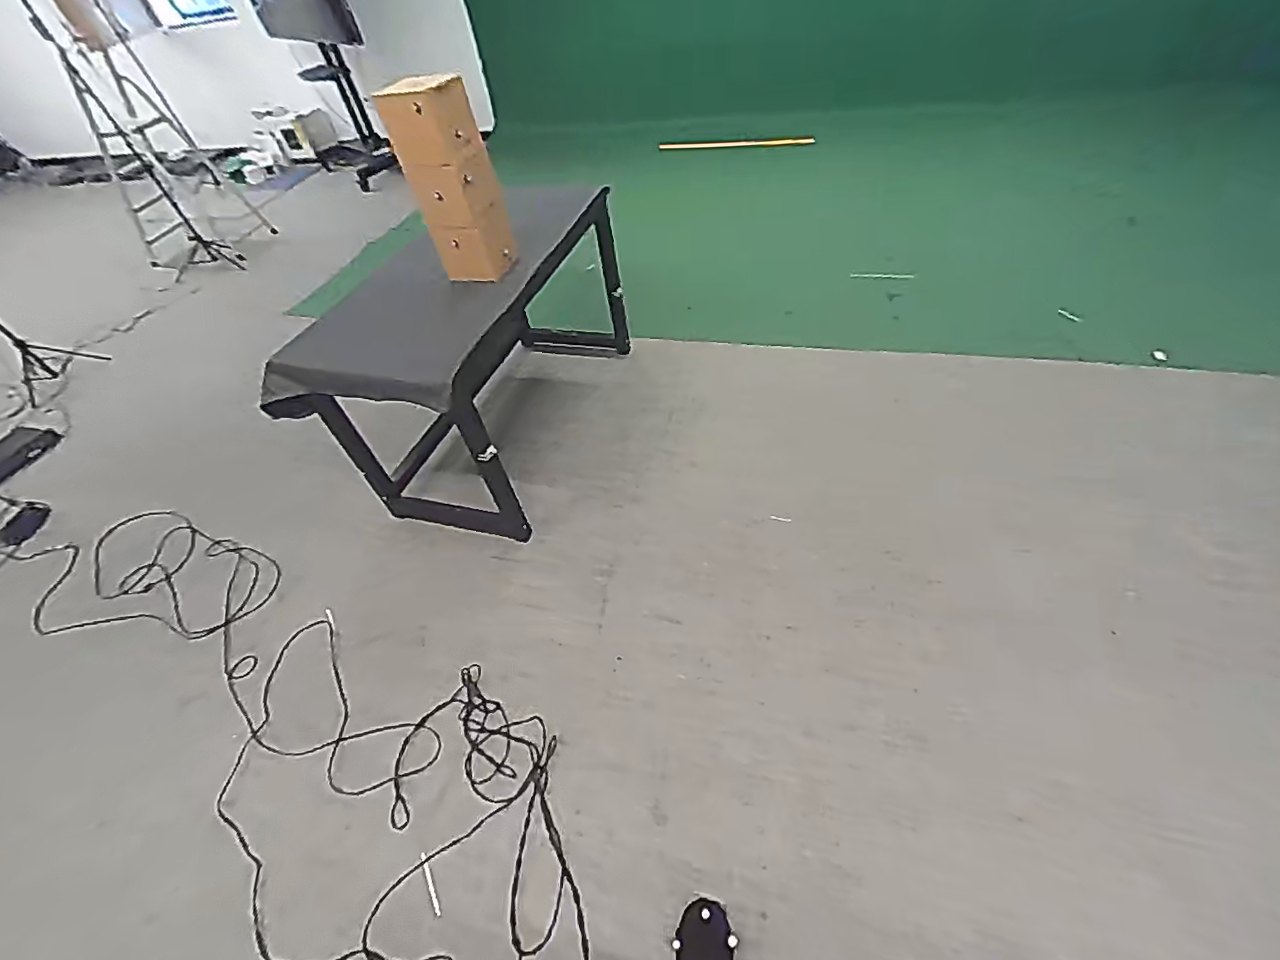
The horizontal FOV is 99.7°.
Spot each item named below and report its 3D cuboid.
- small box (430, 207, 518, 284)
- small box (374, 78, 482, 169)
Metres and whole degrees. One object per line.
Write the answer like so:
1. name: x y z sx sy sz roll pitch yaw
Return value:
1. small box: -0.508 -0.727 1.682 0.179 0.176 0.168 7 50 16
2. small box: -0.558 -0.949 1.447 0.179 0.176 0.168 10 50 18
